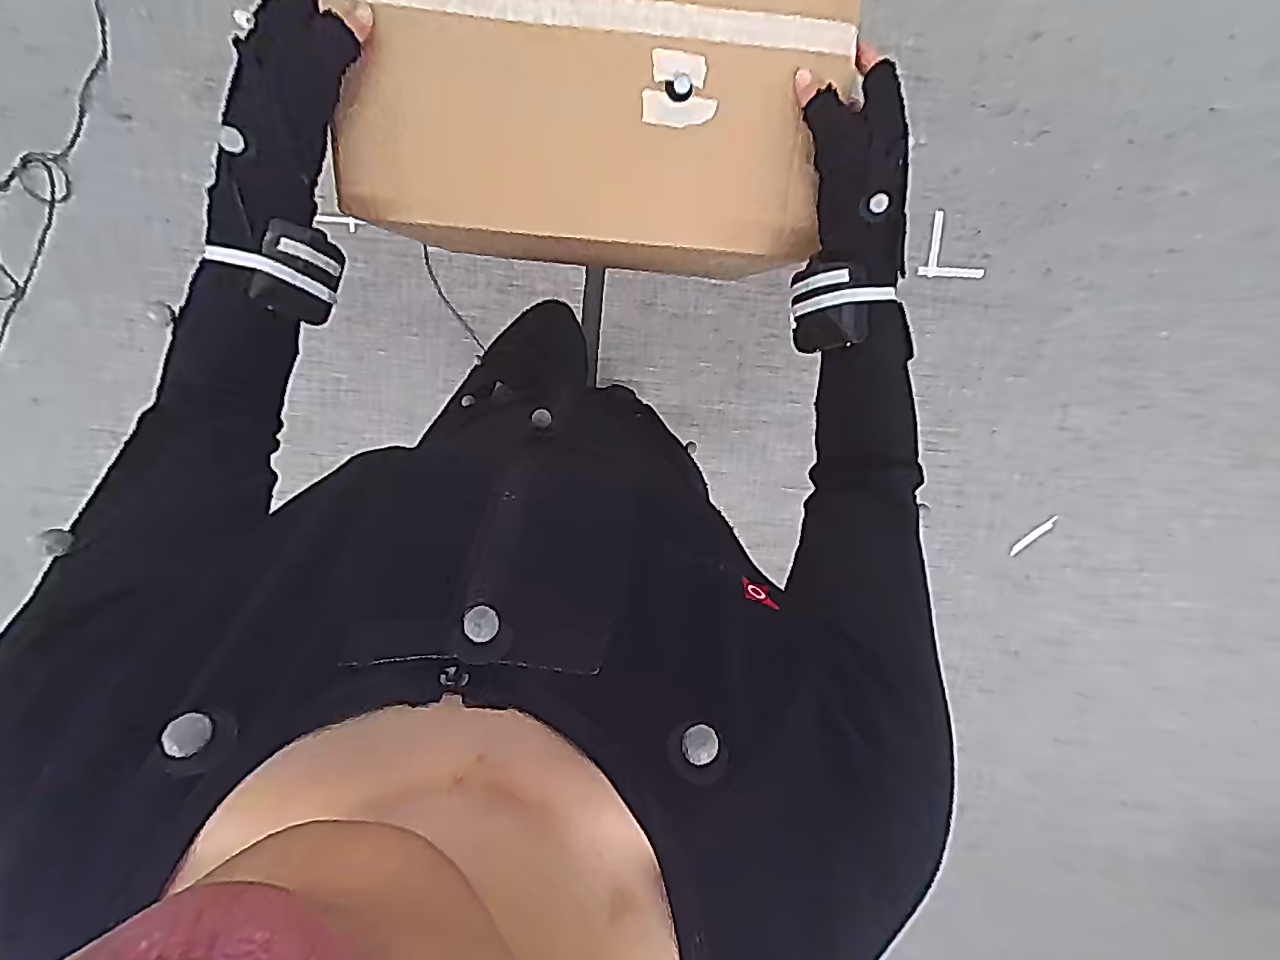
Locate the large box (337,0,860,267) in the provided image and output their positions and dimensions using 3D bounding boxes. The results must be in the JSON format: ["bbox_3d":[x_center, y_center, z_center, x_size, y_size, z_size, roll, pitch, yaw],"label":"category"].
[{"bbox_3d":[-0.038,-0.406,0.554,0.408,0.320,0.320,3,108,-5],"label":"large box"}]
